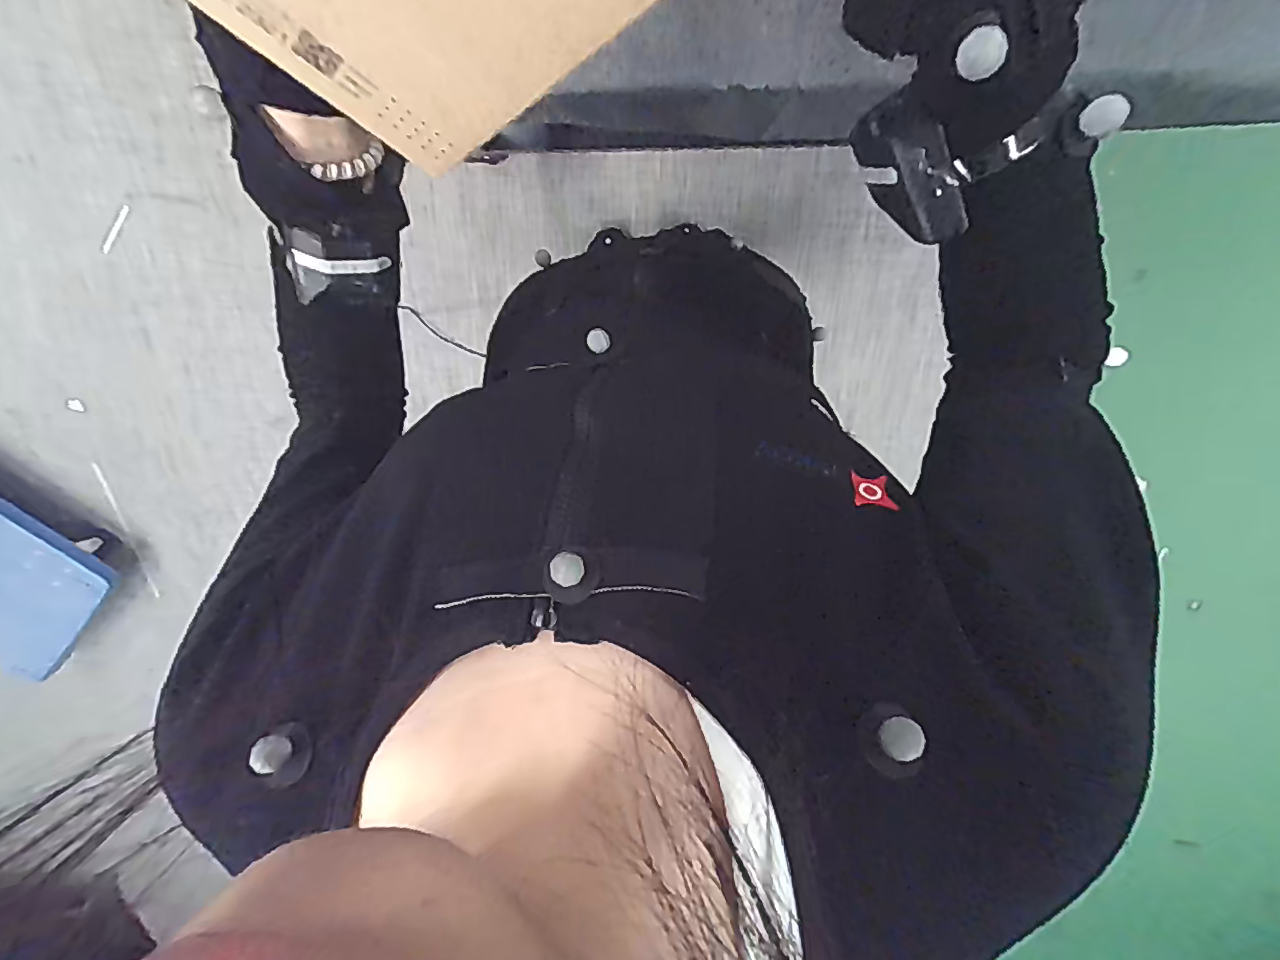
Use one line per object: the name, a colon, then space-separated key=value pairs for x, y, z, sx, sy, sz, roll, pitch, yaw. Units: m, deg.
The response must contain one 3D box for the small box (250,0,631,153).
small box: x=-0.071 y=-0.252 z=0.168 sx=0.176 sy=0.179 sz=0.168 roll=-1 pitch=163 yaw=42
